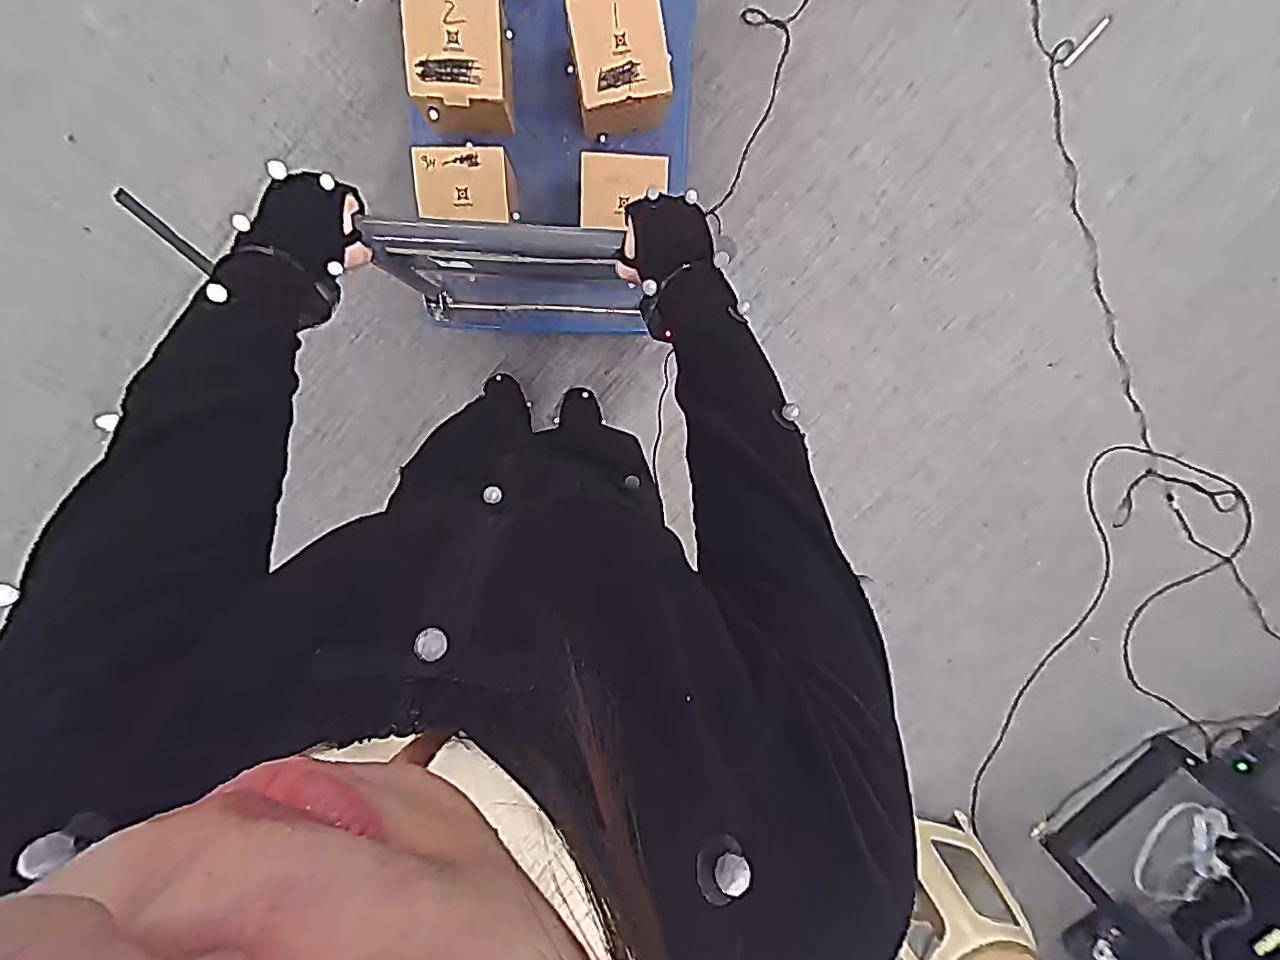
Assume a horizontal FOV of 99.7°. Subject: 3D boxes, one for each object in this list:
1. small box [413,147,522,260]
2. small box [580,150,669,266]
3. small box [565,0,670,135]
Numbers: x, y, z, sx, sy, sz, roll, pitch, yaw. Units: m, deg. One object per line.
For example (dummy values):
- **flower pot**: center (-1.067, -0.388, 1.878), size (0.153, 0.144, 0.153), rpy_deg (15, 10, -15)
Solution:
- **small box**: center (-0.333, -0.539, 1.076), size (0.168, 0.176, 0.179), rpy_deg (-4, 105, -5)
- **small box**: center (-0.036, -0.542, 1.103), size (0.168, 0.176, 0.179), rpy_deg (1, 103, -6)
- **small box**: center (-0.043, -0.792, 1.040), size (0.168, 0.176, 0.179), rpy_deg (-11, 104, -3)
